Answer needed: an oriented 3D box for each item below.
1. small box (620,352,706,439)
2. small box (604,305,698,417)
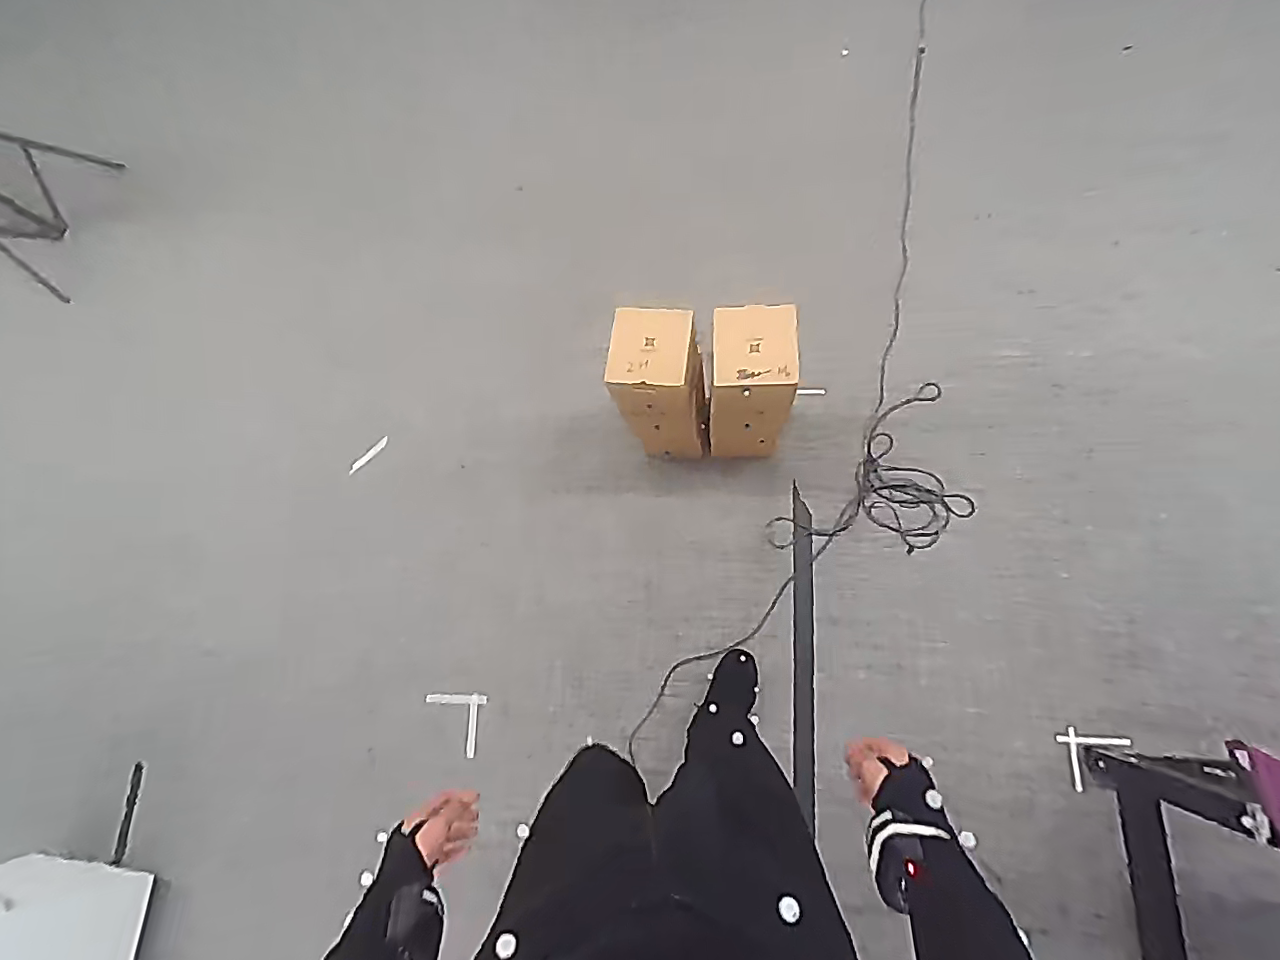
[{"bbox_3d":[0.064,-0.204,1.318,0.179,0.176,0.168,5,76,13],"label":"small box"},{"bbox_3d":[0.032,-0.252,1.163,0.168,0.176,0.179,6,77,12],"label":"small box"}]
